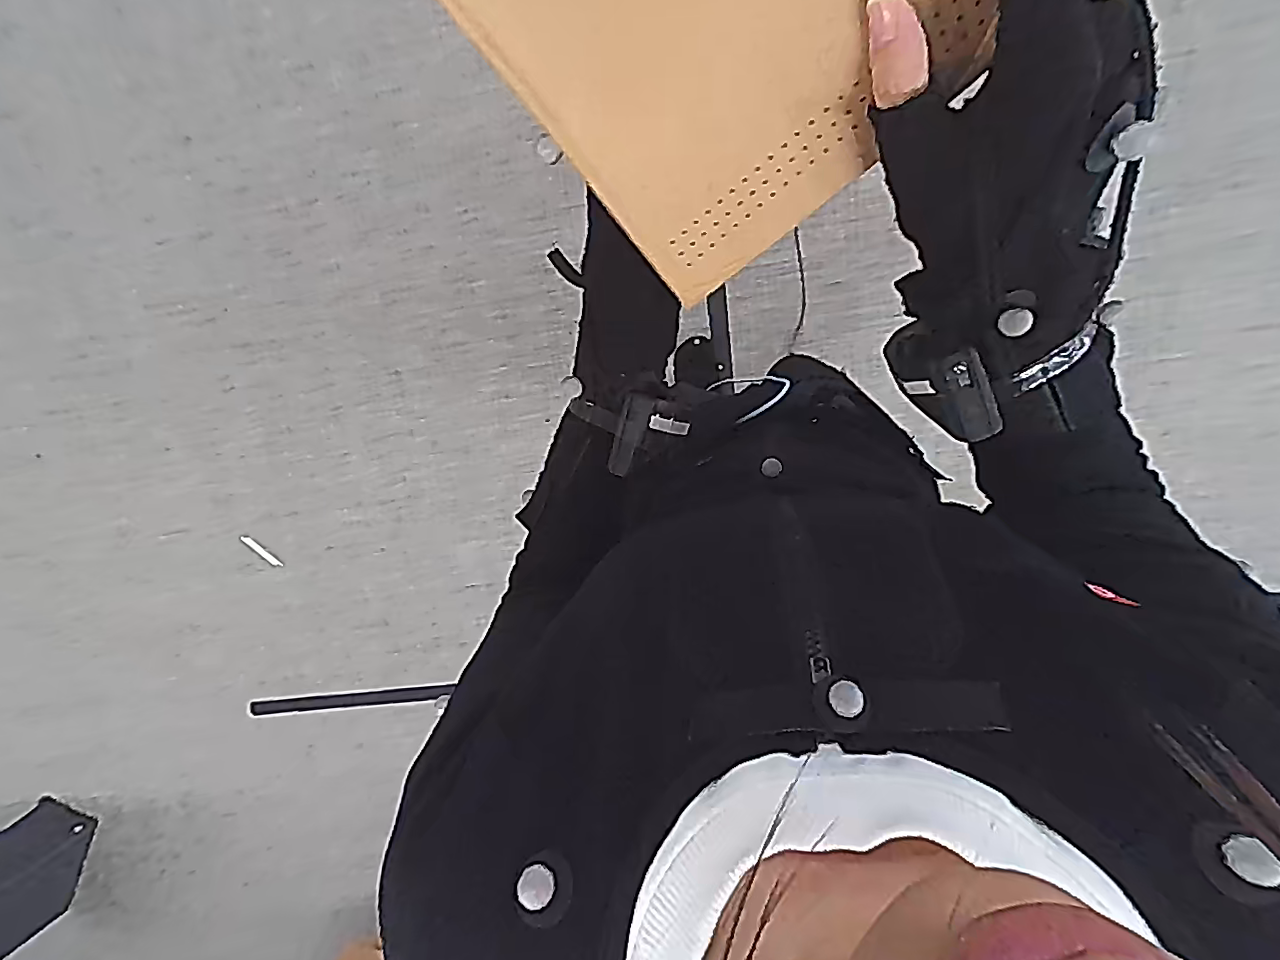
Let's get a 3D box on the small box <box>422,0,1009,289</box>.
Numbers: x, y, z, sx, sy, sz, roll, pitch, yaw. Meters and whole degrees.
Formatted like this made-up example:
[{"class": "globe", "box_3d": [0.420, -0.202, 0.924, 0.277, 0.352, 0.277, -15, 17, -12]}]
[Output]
[{"class": "small box", "box_3d": [0.031, -0.230, 0.263, 0.179, 0.168, 0.176, -33, 126, 23]}]
